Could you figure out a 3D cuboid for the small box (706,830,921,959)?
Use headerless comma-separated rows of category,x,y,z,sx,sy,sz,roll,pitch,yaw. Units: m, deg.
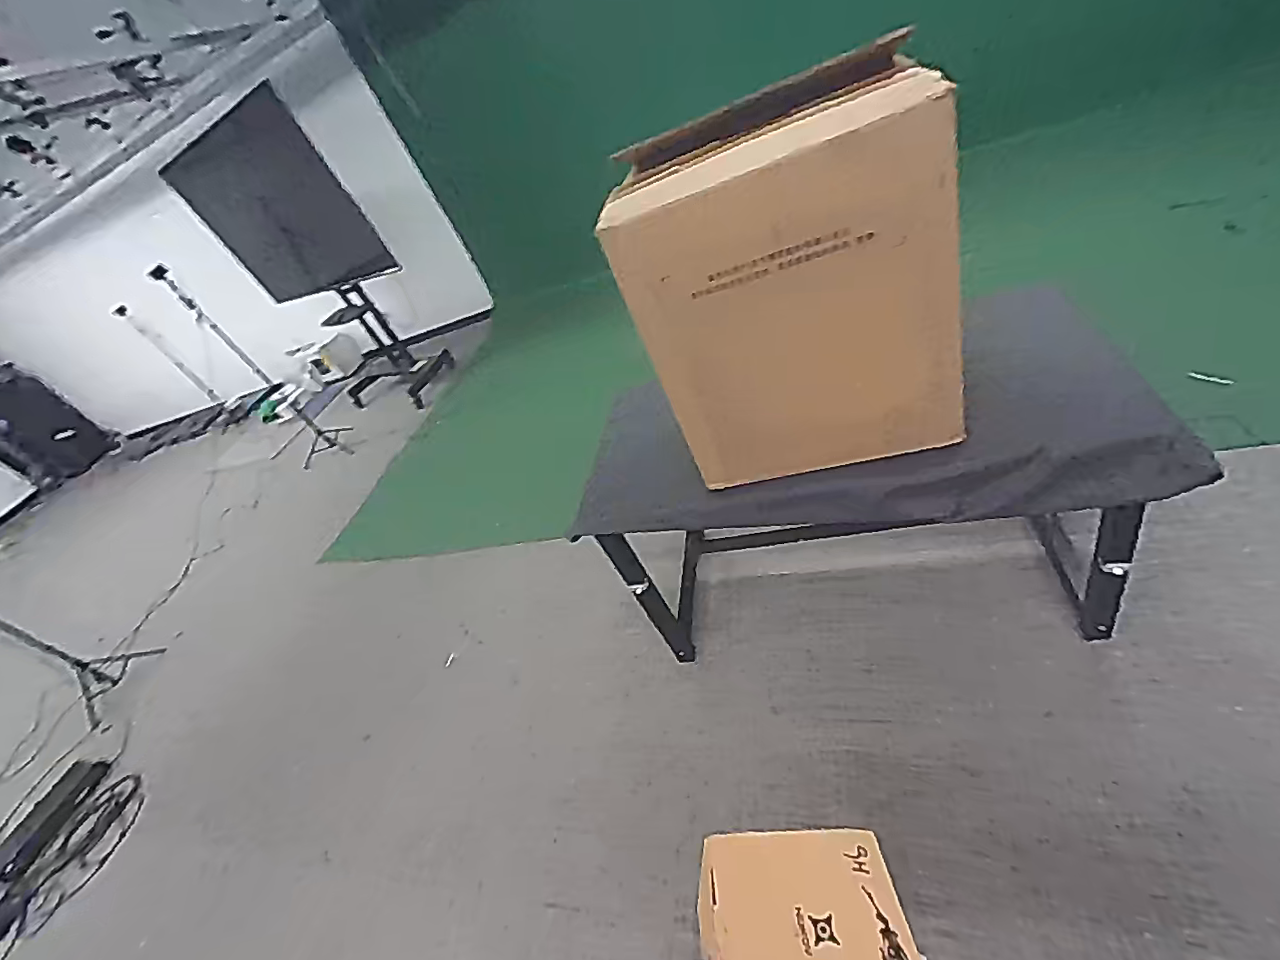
small box,0.159,0.474,0.530,0.179,0.176,0.168,-1,32,0
